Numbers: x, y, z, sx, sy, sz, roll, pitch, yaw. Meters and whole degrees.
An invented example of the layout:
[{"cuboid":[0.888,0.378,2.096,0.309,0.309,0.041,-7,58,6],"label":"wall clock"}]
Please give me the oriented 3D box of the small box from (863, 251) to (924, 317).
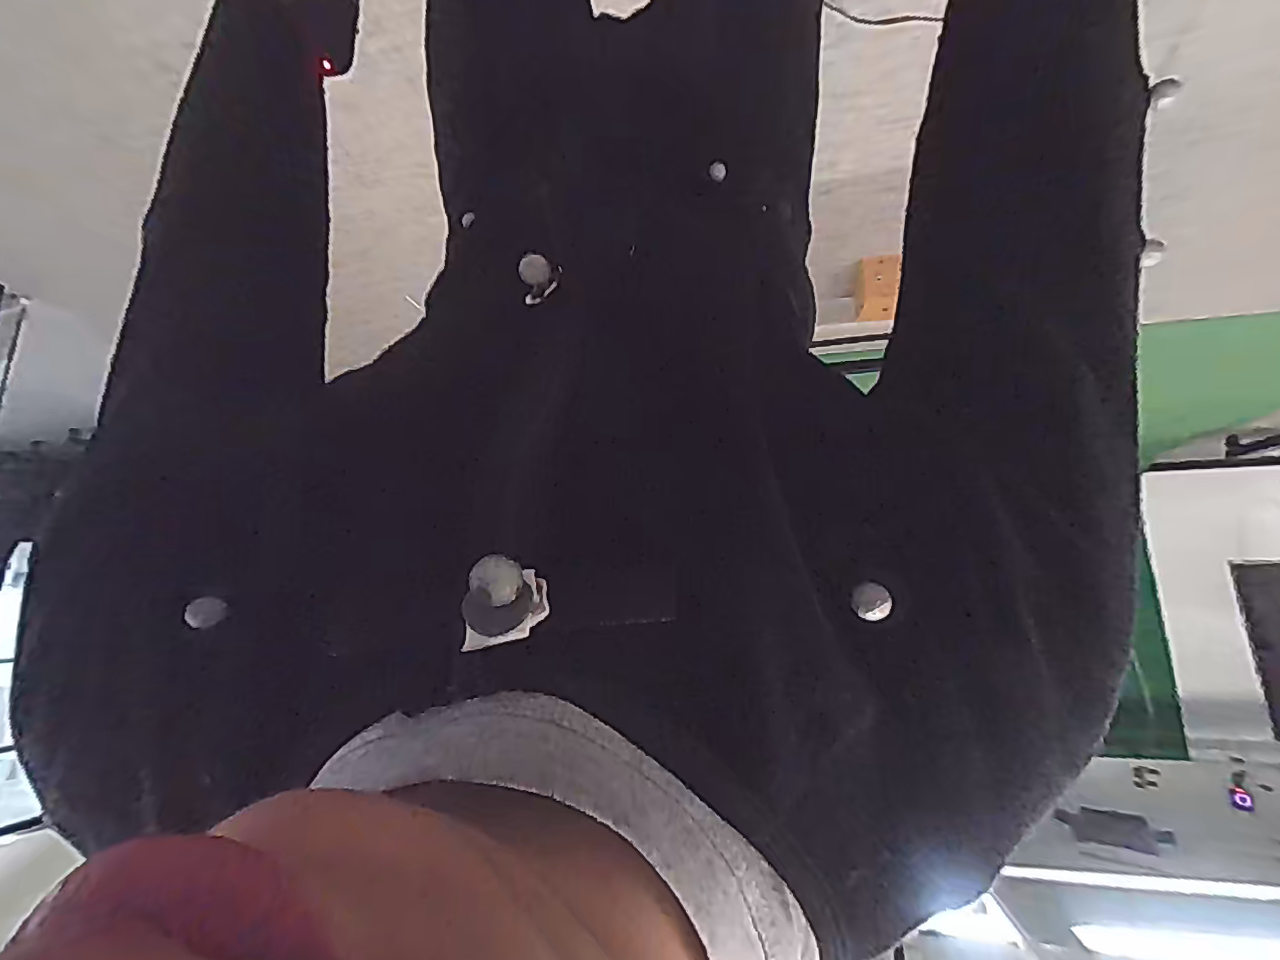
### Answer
[{"cuboid":[0.913,-0.715,1.963,0.168,0.176,0.179,0,170,11],"label":"small box"}]
